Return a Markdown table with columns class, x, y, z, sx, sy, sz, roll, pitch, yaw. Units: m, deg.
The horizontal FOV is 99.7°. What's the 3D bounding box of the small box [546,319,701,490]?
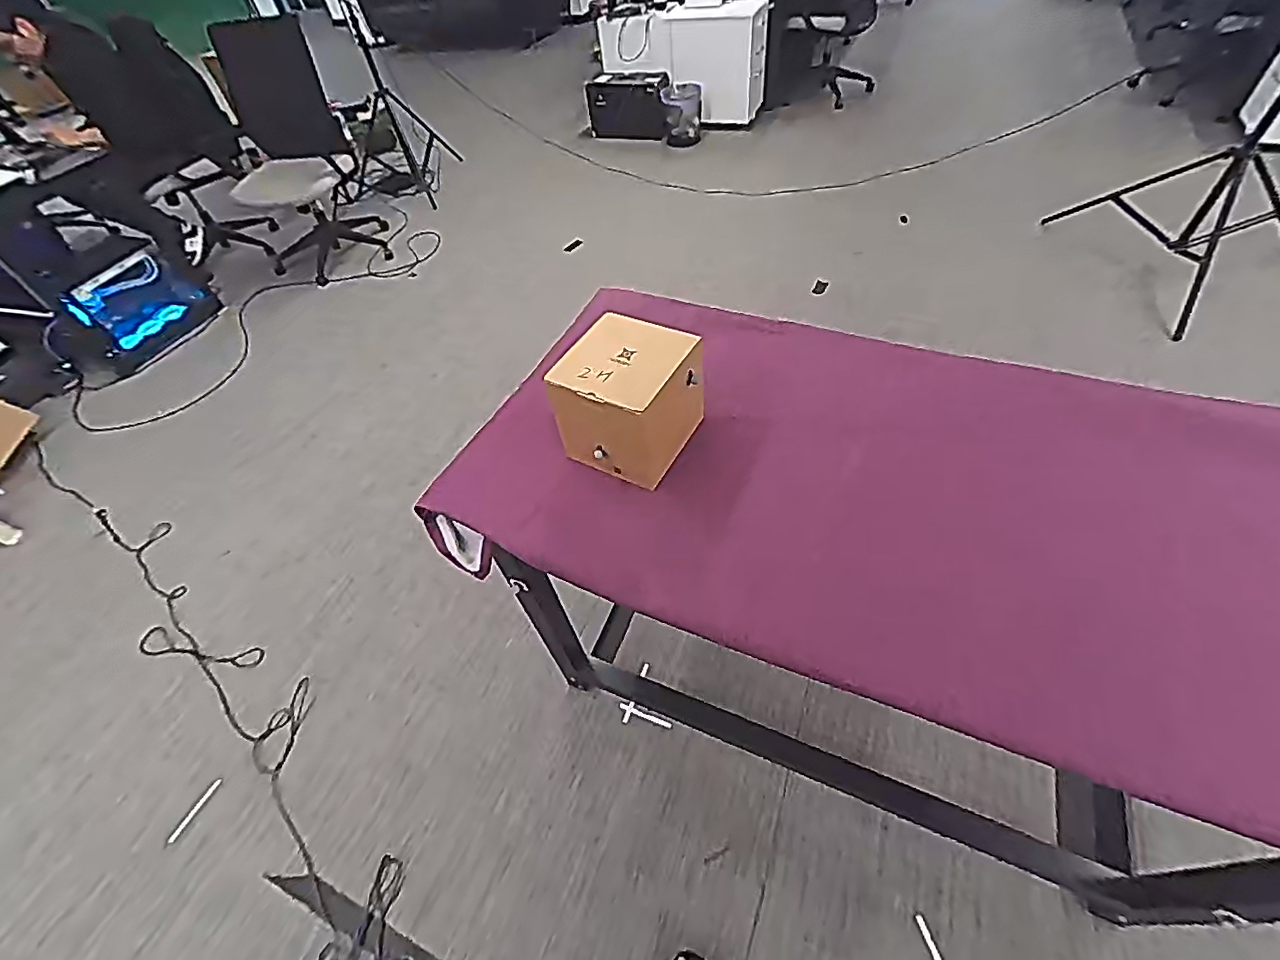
| class | x | y | z | sx | sy | sz | roll | pitch | yaw |
| --- | --- | --- | --- | --- | --- | --- | --- | --- | --- |
| small box | -0.017 | -0.117 | 0.840 | 0.168 | 0.176 | 0.179 | 21 | 57 | 23 |
